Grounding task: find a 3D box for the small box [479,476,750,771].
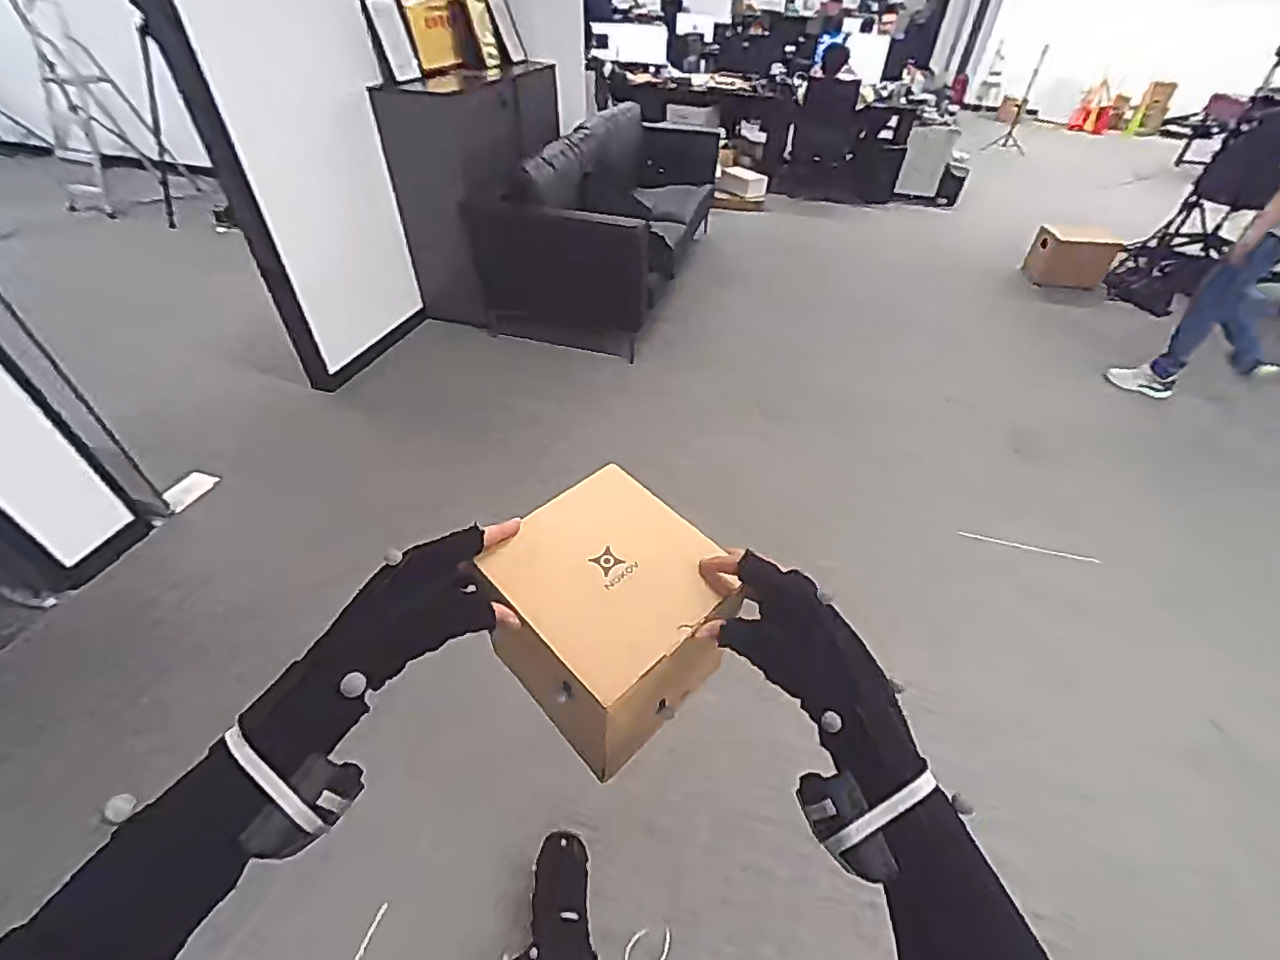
[{"bbox_3d":[-0.029,0.134,0.515,0.168,0.176,0.179,-32,58,-32],"label":"small box"}]
